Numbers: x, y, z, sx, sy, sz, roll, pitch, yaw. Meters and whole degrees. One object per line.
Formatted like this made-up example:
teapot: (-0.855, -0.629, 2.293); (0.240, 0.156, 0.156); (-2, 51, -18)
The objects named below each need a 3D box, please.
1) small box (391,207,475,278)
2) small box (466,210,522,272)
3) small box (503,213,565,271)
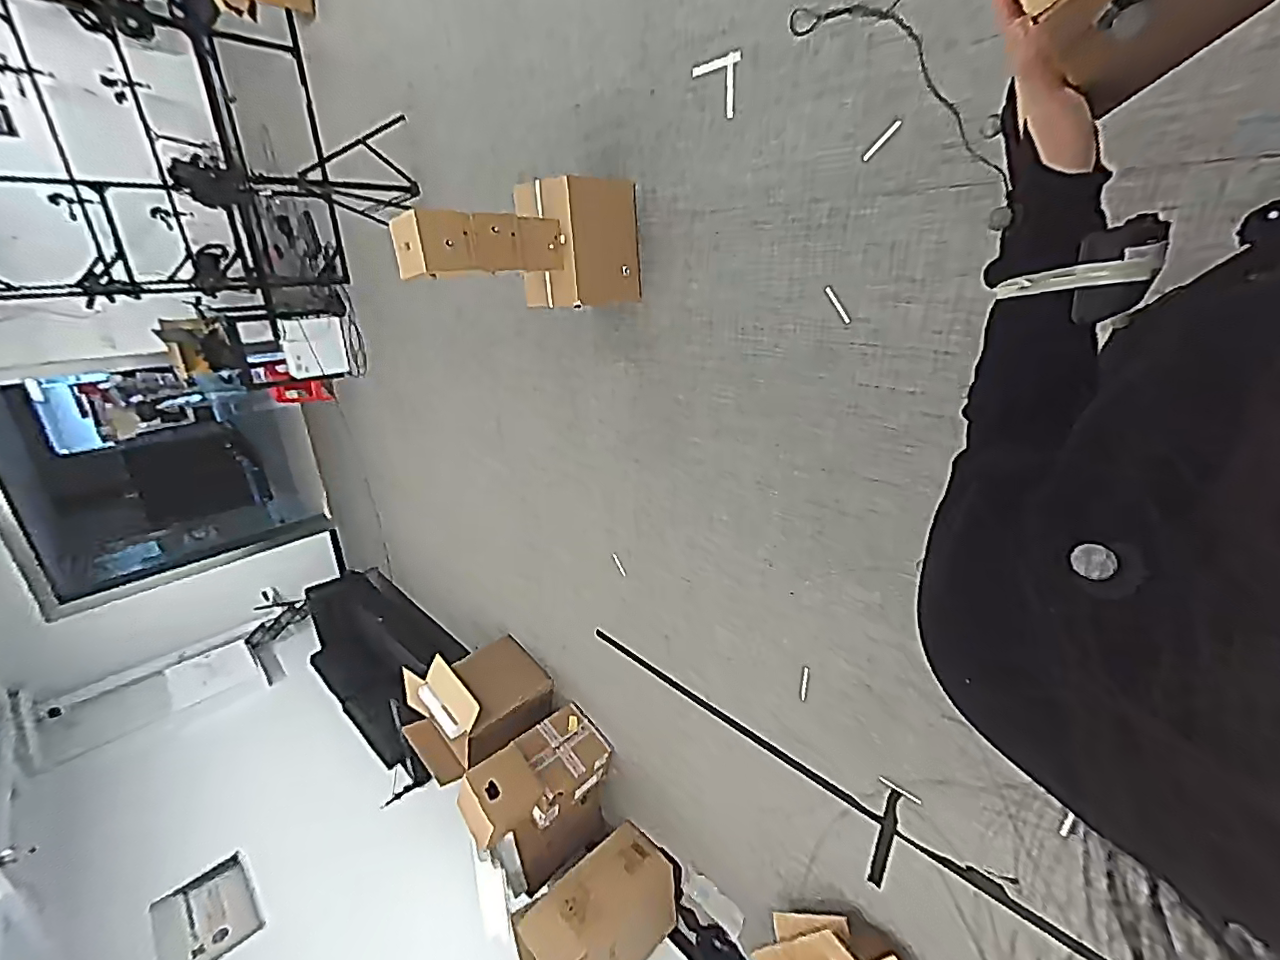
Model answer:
small box: (-0.603, -0.697, 1.597); (0.179, 0.176, 0.168); (9, 112, 44)
small box: (-0.485, -0.748, 1.701); (0.179, 0.176, 0.168); (15, 117, 44)
small box: (-0.375, -0.792, 1.812); (0.179, 0.176, 0.168); (16, 118, 42)
